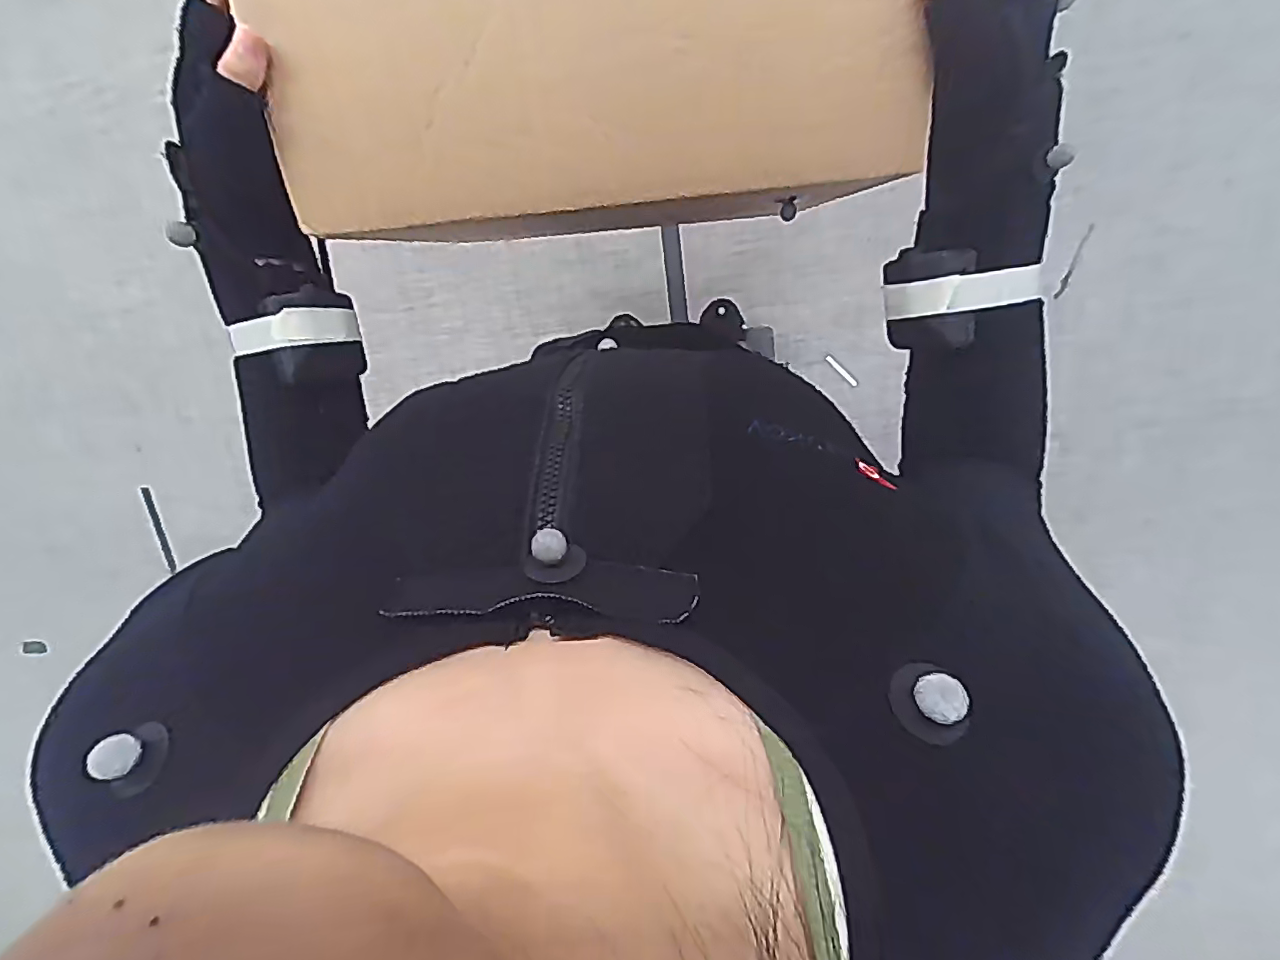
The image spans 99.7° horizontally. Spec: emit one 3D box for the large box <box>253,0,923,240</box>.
[{"bbox_3d":[-0.030,-0.383,0.440,0.408,0.320,0.320,-4,112,4],"label":"large box"}]

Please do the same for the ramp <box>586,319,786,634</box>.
[{"bbox_3d":[0.175,0.057,1.614,0.509,0.206,0.991,-9,106,6],"label":"ramp"}]
